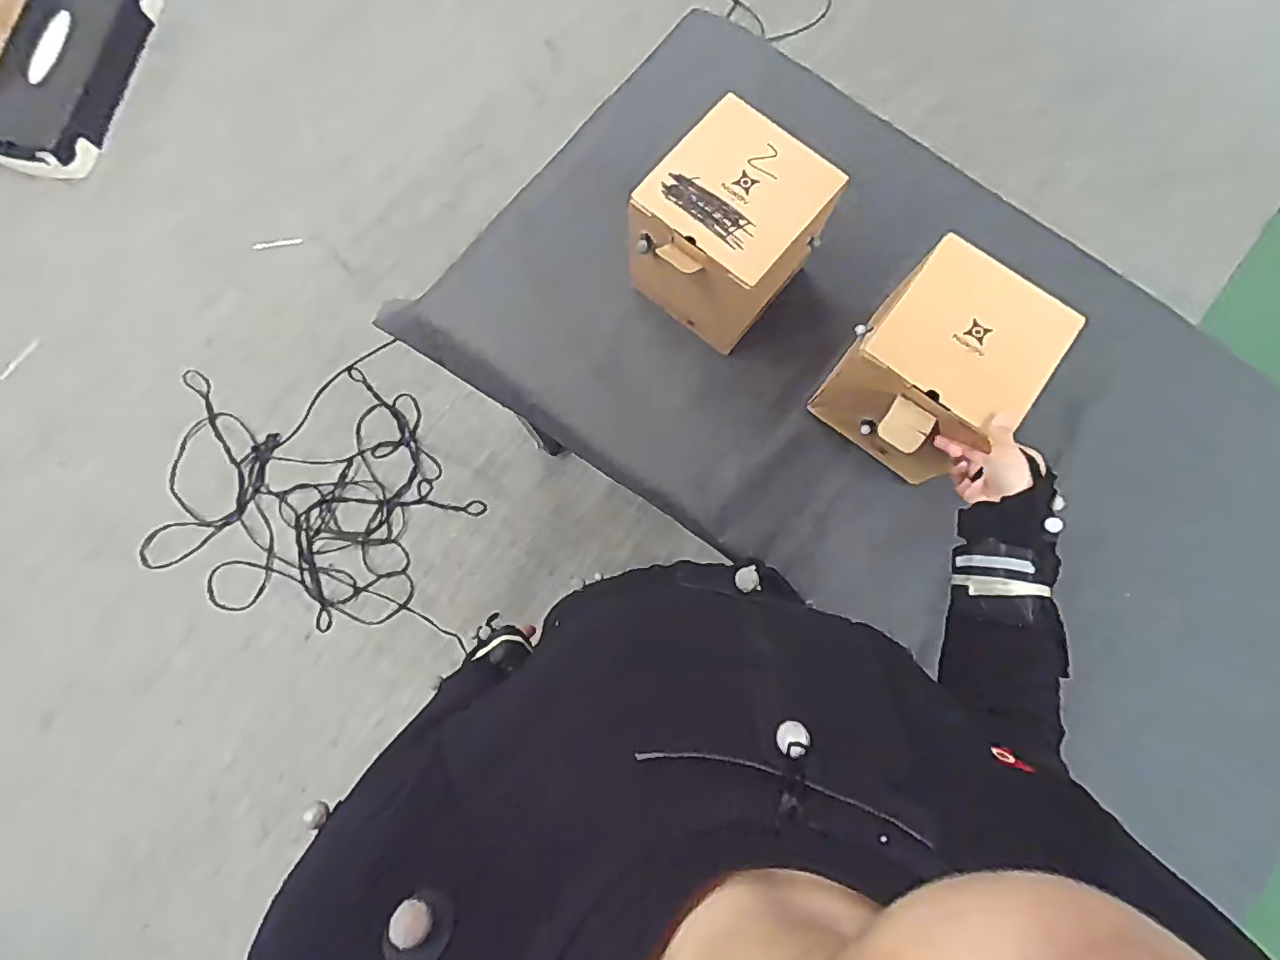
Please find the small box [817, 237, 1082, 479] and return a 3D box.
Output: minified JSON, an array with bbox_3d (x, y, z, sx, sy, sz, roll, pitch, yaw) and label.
[{"bbox_3d":[0.334,-0.126,0.621,0.168,0.176,0.179,37,80,6],"label":"small box"}]
